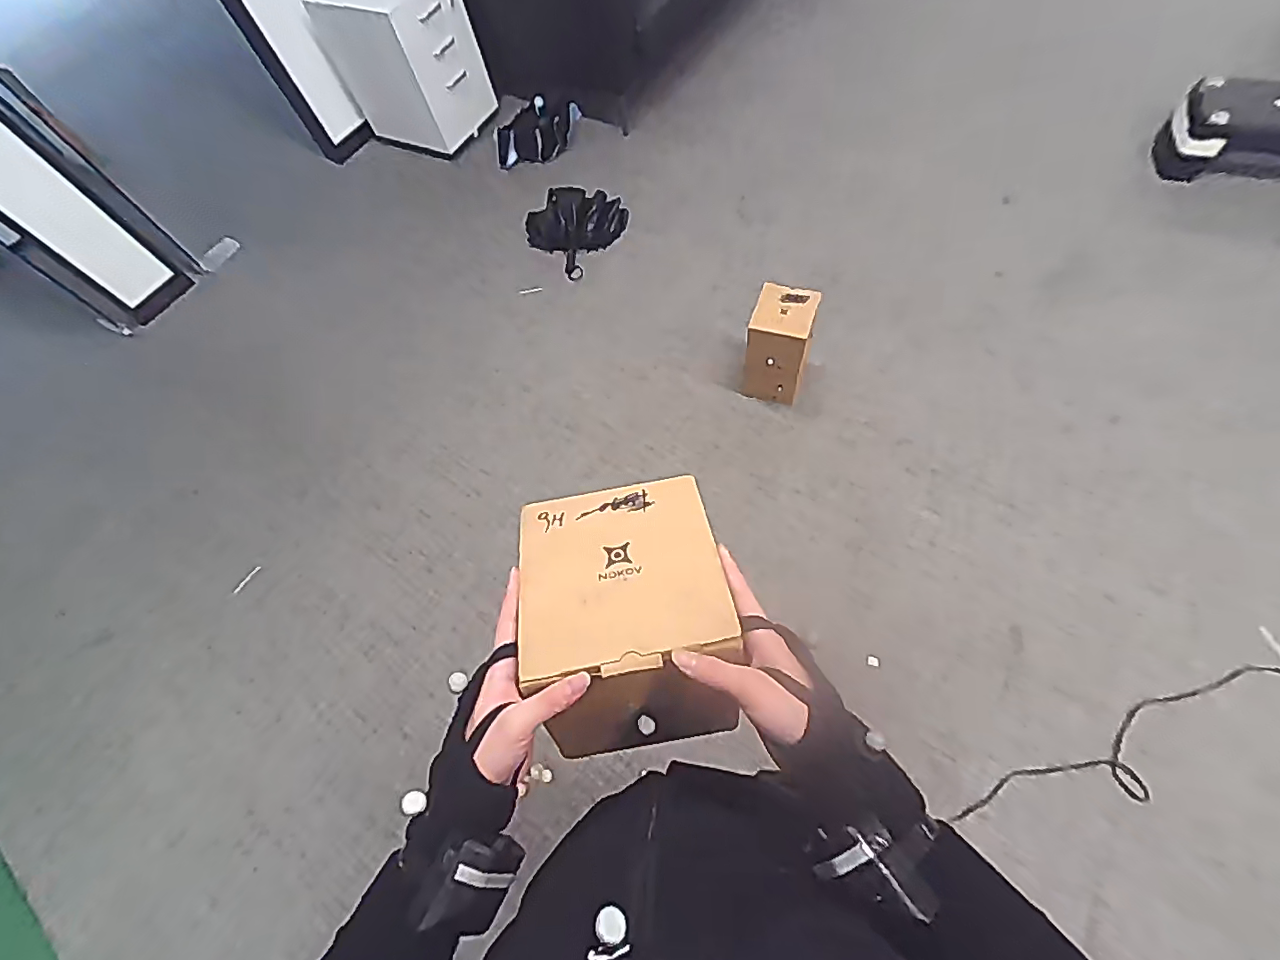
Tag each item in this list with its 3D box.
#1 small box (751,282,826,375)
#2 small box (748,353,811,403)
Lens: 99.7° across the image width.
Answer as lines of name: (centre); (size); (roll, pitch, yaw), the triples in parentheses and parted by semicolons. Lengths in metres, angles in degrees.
small box: (0.423, -0.437, 1.564); (0.168, 0.176, 0.179); (16, 69, 17)
small box: (0.444, -0.368, 1.712); (0.168, 0.176, 0.179); (15, 66, 16)
